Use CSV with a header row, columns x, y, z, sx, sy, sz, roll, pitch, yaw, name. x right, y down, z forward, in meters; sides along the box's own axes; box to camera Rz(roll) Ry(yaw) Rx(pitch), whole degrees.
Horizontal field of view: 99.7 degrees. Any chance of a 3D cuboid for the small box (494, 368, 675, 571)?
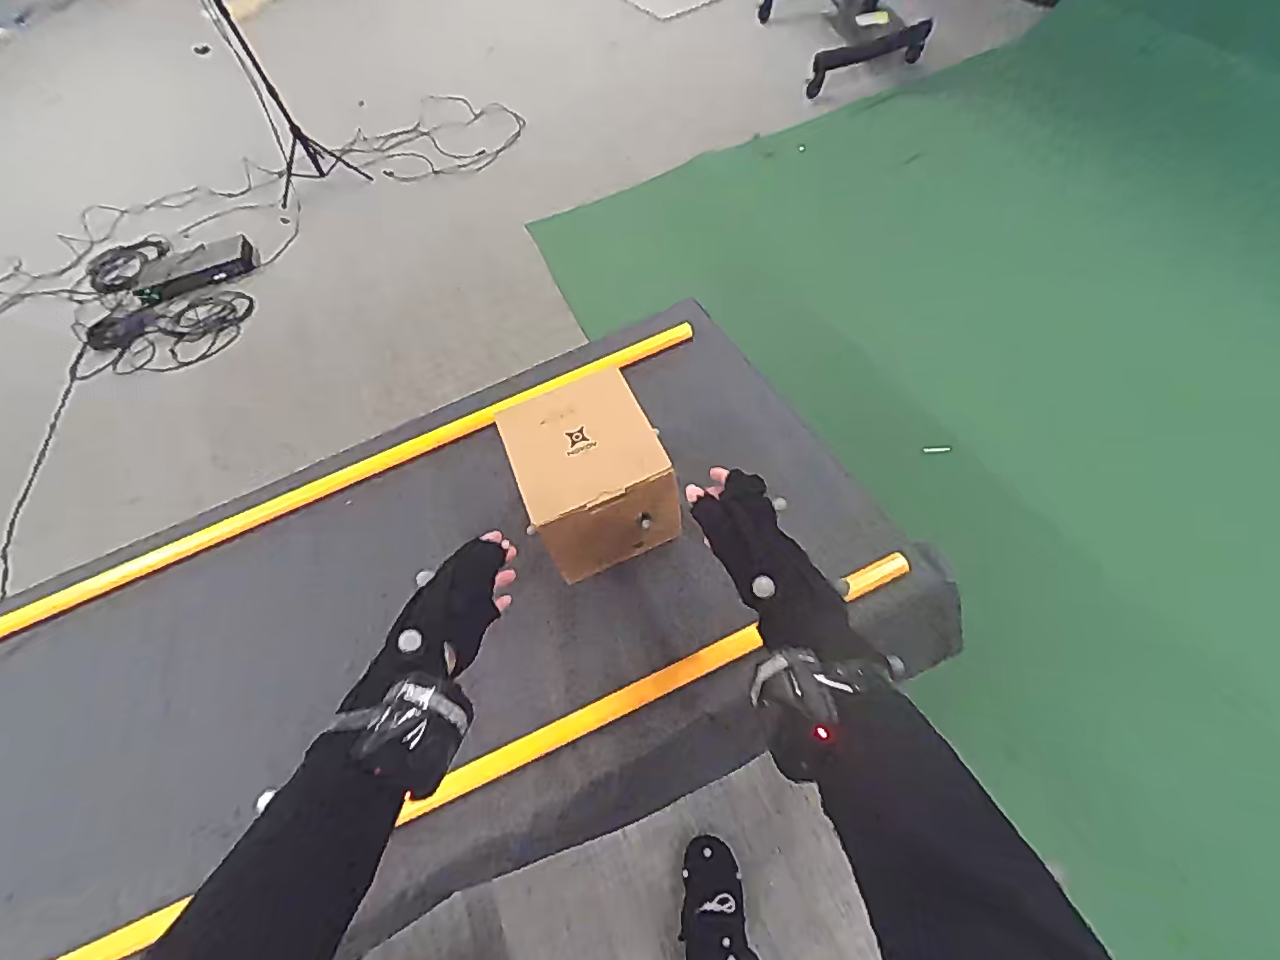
x,y,z,sx,sy,sz,roll,pitch,yaw,name
-0.063,-0.003,0.689,0.168,0.176,0.179,-23,57,-8,small box
